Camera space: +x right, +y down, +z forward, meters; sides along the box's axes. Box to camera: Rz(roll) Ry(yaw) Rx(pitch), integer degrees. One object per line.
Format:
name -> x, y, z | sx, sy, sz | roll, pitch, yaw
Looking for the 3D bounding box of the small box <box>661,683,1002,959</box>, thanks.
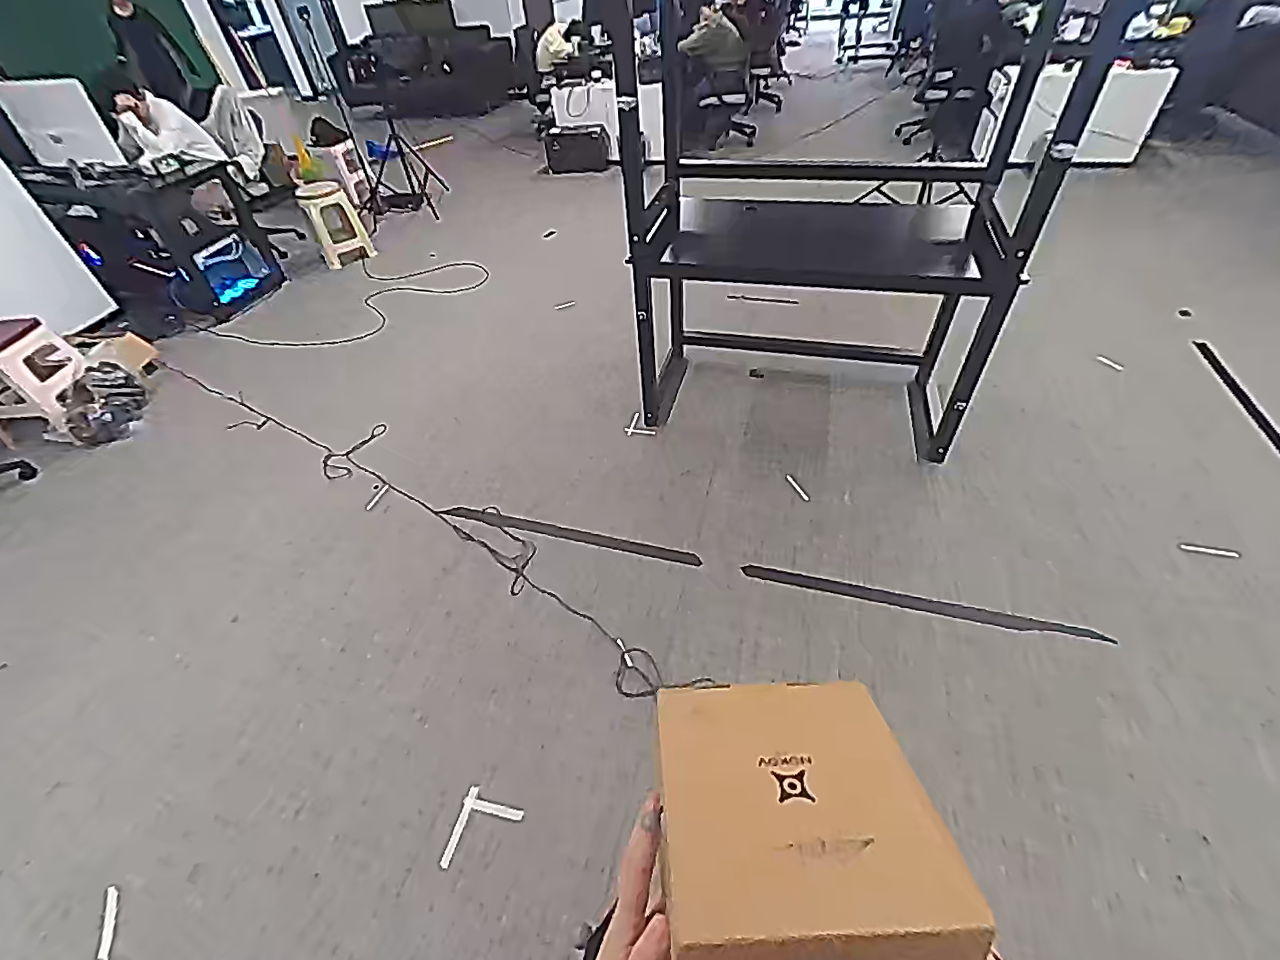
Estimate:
small box -> 0.101, 0.270, 0.377 | 0.168, 0.176, 0.179 | -2, 22, -1
